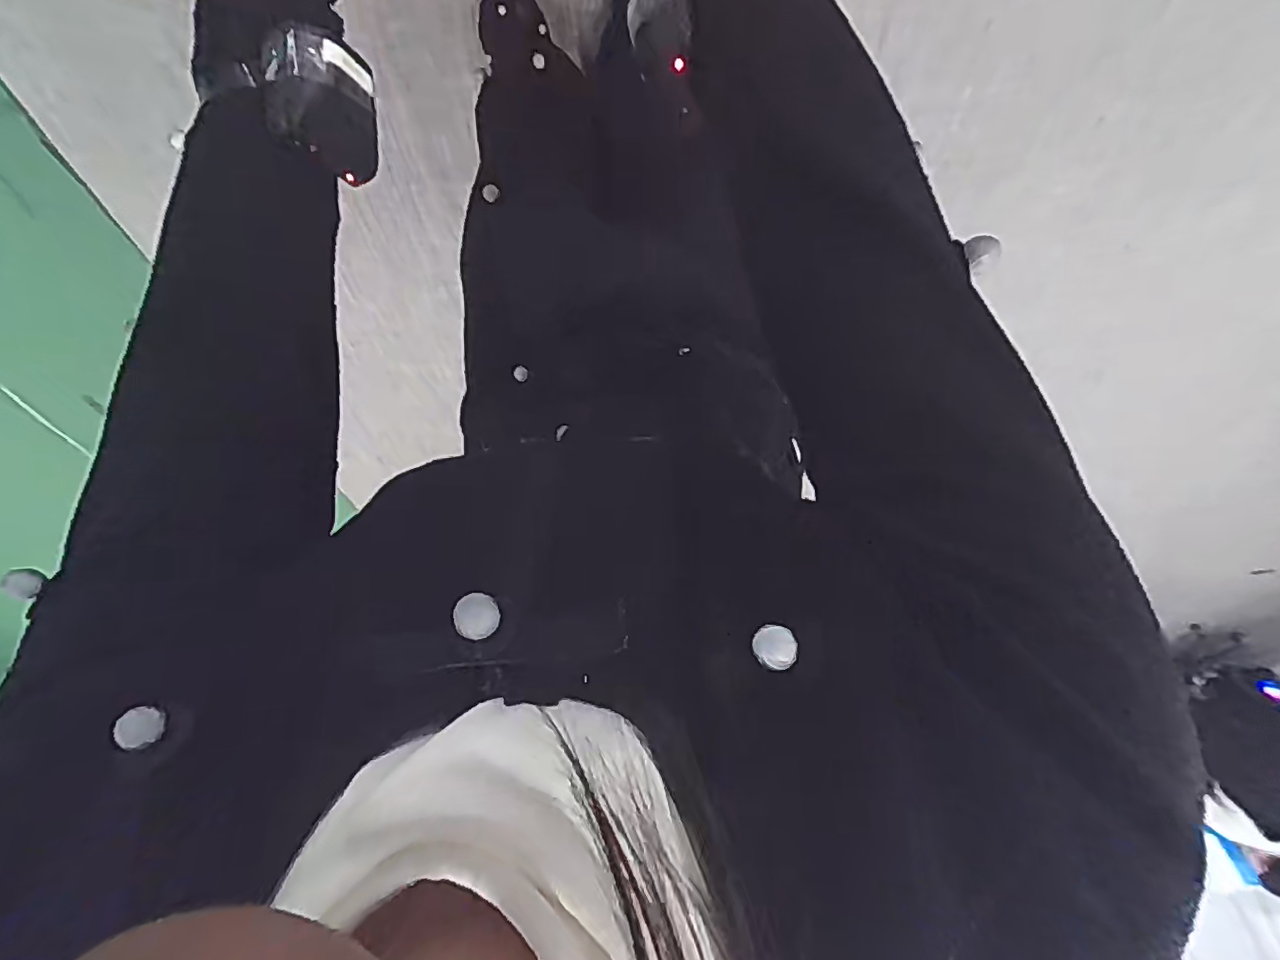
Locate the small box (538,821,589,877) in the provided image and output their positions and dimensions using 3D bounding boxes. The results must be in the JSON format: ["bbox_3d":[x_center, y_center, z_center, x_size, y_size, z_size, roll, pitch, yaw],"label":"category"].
[{"bbox_3d":[-0.287,1.408,2.063,0.168,0.176,0.179,-5,142,2],"label":"small box"}]

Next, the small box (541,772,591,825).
[{"bbox_3d":[-0.292,1.275,2.162,0.168,0.176,0.179,-6,141,3],"label":"small box"}]
